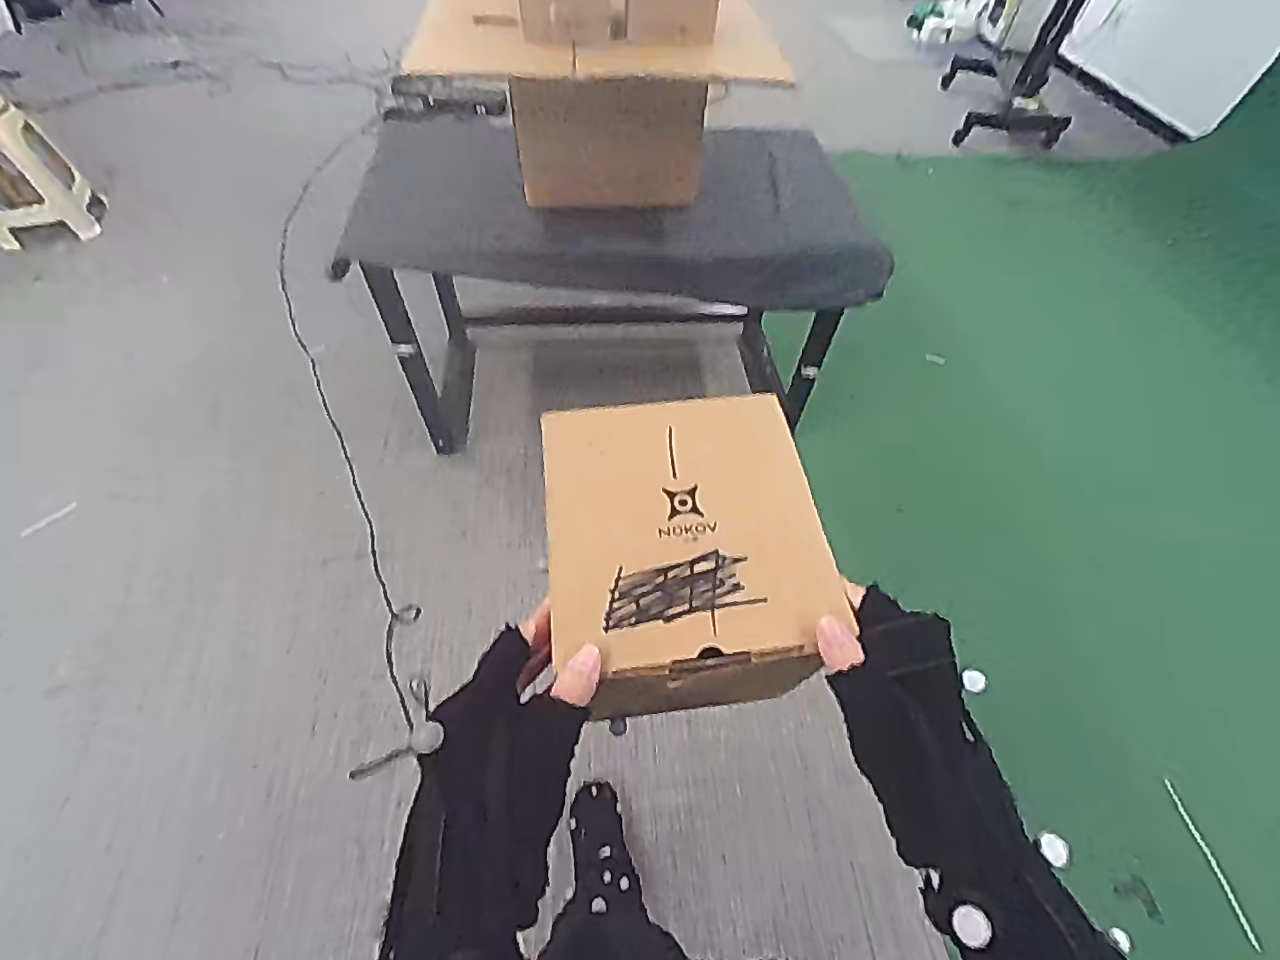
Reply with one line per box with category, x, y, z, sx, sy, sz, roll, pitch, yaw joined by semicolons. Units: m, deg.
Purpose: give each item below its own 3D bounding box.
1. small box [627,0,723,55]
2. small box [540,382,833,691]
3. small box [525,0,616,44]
small box;0.065;-0.939;1.023;0.168;0.176;0.179;0;54;-5
small box;0.019;0.052;0.408;0.168;0.176;0.179;-5;58;-5
small box;-0.130;-0.938;0.995;0.168;0.176;0.179;-3;57;-3
